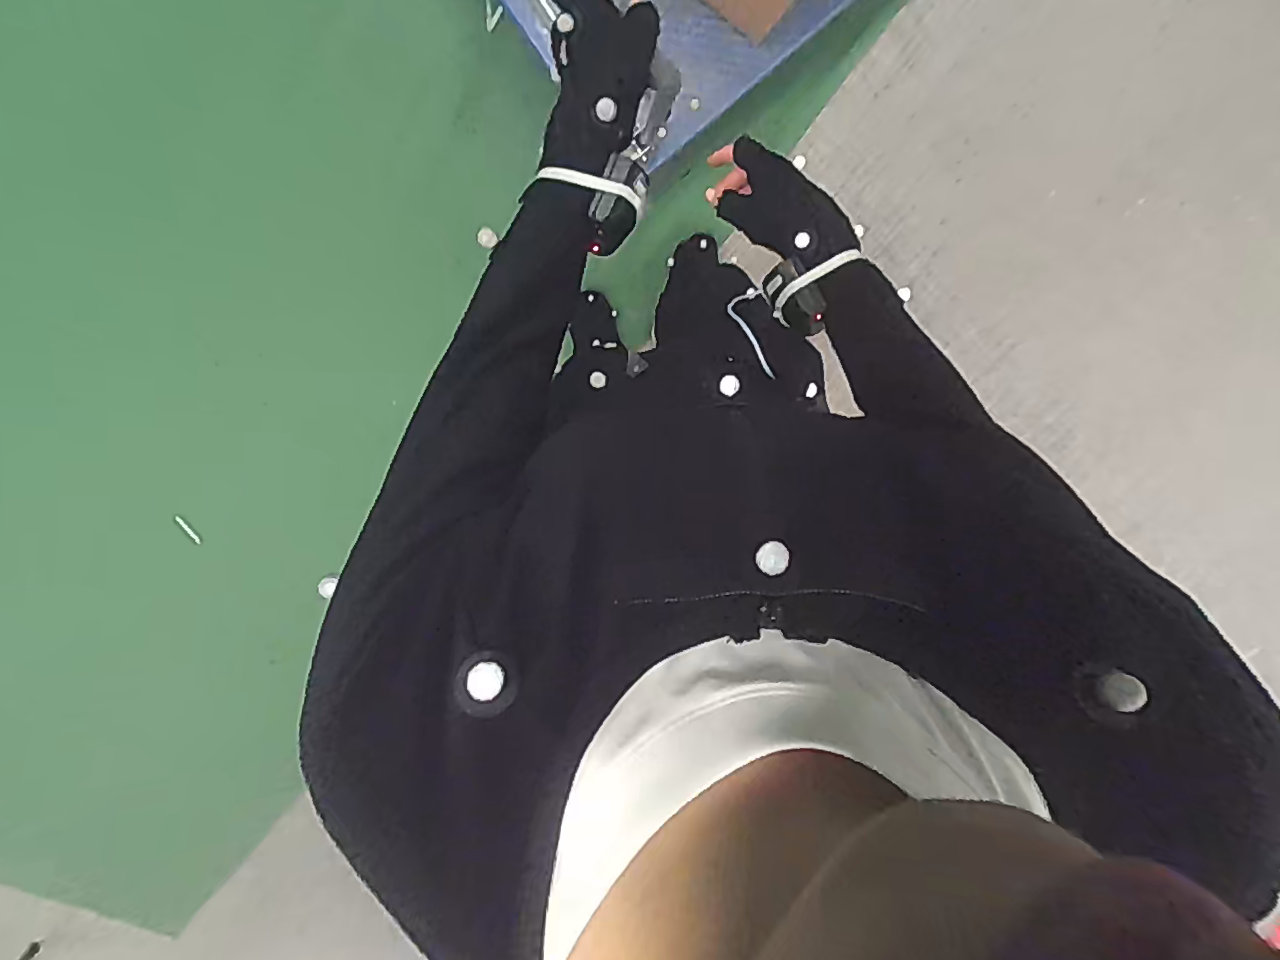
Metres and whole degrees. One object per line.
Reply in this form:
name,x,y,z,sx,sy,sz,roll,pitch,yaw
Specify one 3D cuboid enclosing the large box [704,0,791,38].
large box,0.136,-0.976,0.791,0.408,0.320,0.320,28,107,-14
